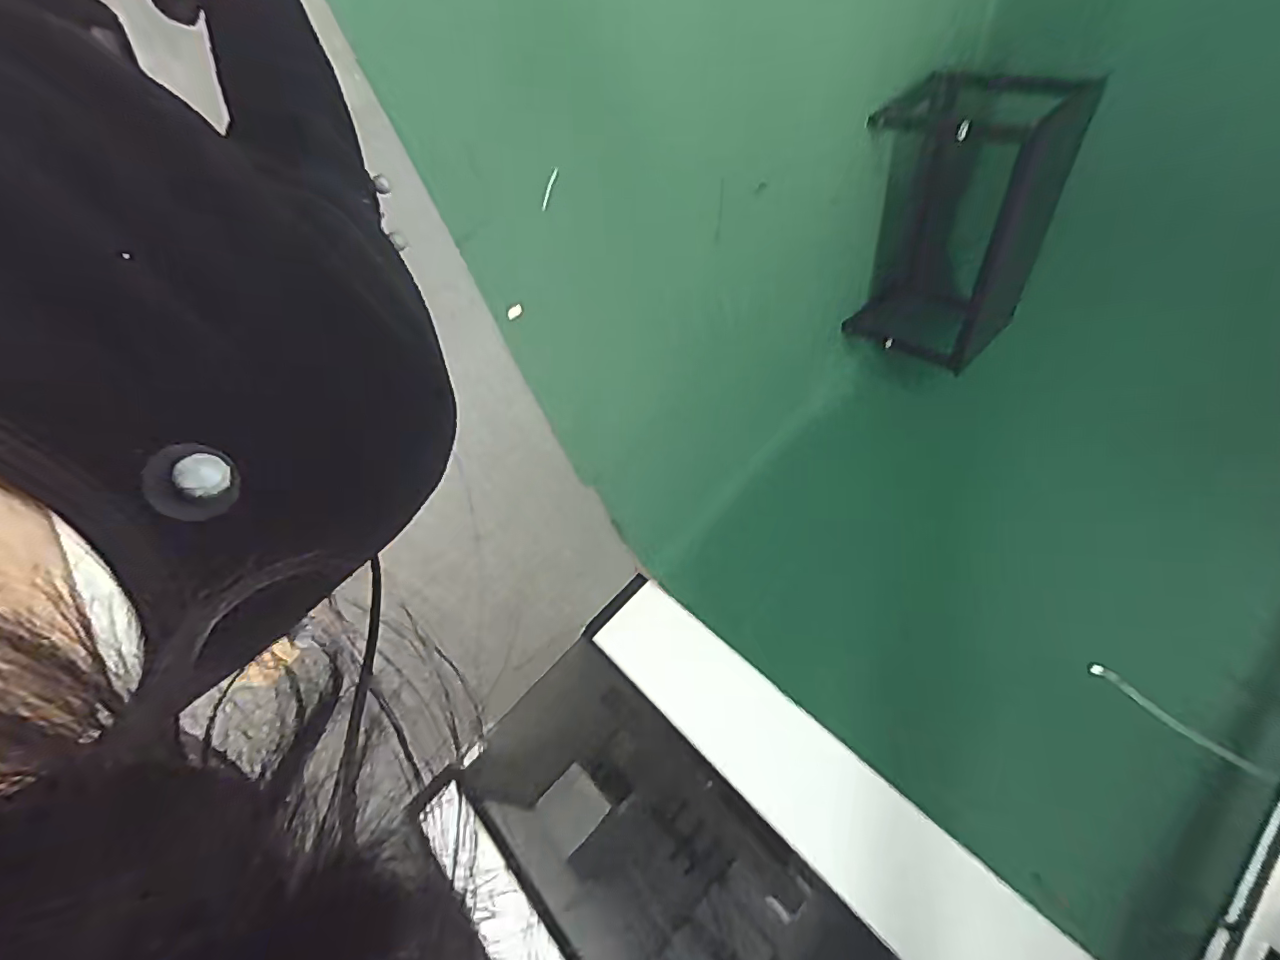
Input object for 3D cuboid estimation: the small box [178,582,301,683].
[{"bbox_3d":[-1.008,0.382,1.356,0.179,0.176,0.168,-53,148,-3],"label":"small box"}]
